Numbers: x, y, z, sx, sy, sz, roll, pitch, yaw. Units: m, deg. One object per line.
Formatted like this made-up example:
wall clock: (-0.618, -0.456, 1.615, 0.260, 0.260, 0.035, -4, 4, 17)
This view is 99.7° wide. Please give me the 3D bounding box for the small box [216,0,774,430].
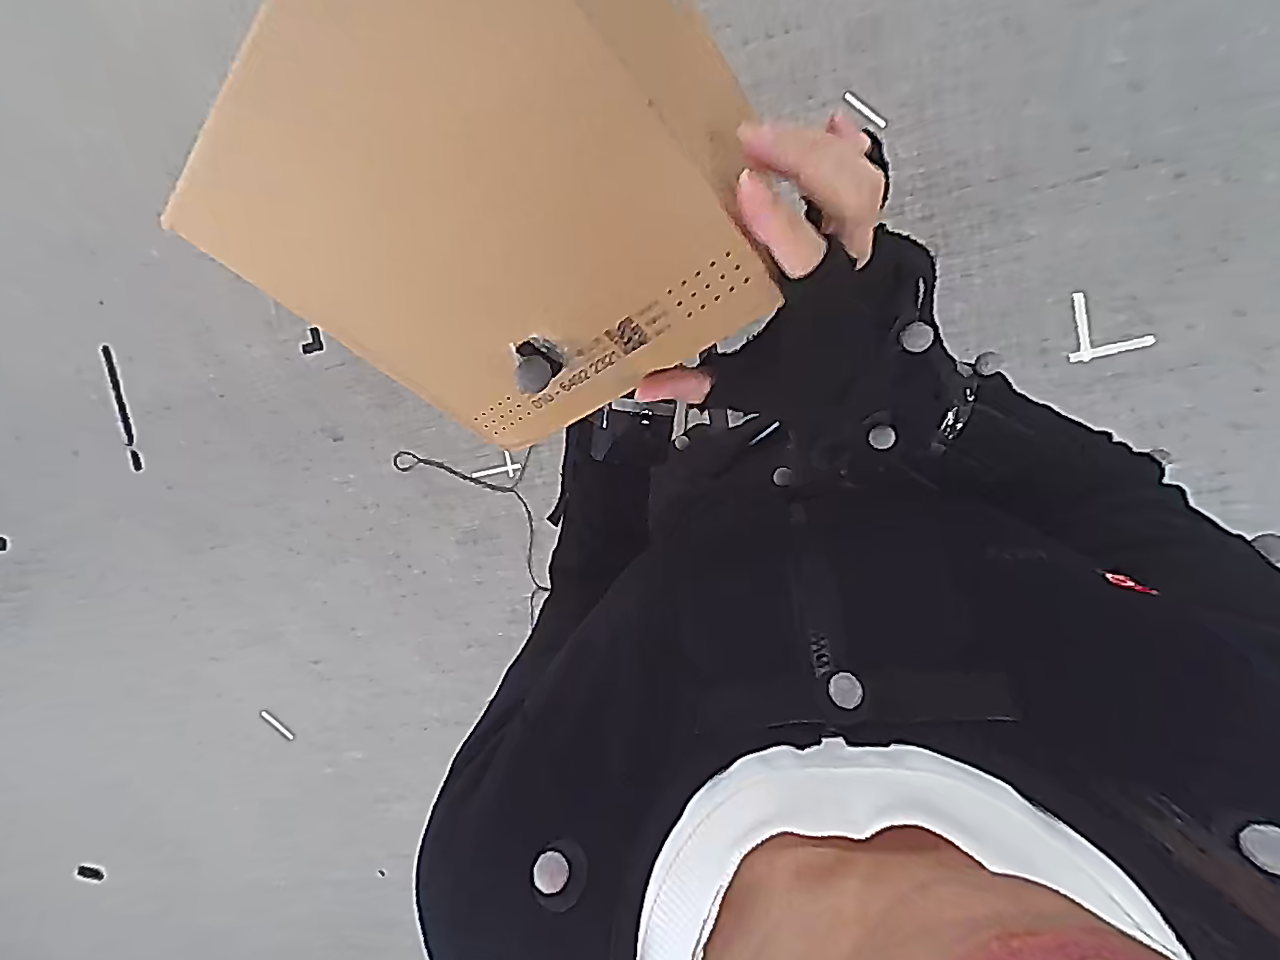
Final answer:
small box: (-0.047, -0.157, 0.268, 0.168, 0.179, 0.176, -23, 134, 34)
